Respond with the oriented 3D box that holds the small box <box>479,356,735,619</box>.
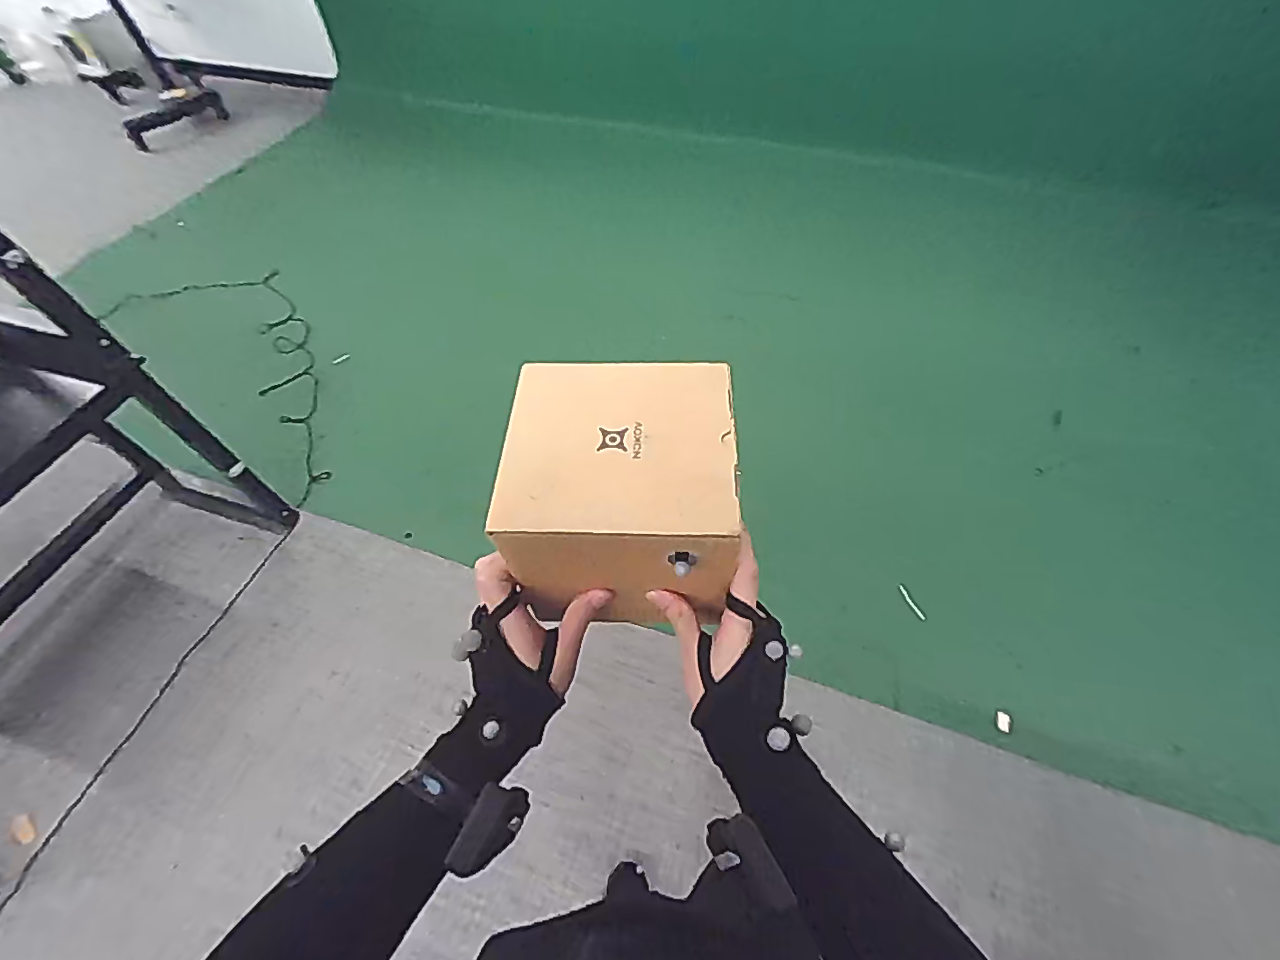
[{"bbox_3d":[-0.016,0.012,0.468,0.179,0.176,0.168,0,54,3],"label":"small box"}]
